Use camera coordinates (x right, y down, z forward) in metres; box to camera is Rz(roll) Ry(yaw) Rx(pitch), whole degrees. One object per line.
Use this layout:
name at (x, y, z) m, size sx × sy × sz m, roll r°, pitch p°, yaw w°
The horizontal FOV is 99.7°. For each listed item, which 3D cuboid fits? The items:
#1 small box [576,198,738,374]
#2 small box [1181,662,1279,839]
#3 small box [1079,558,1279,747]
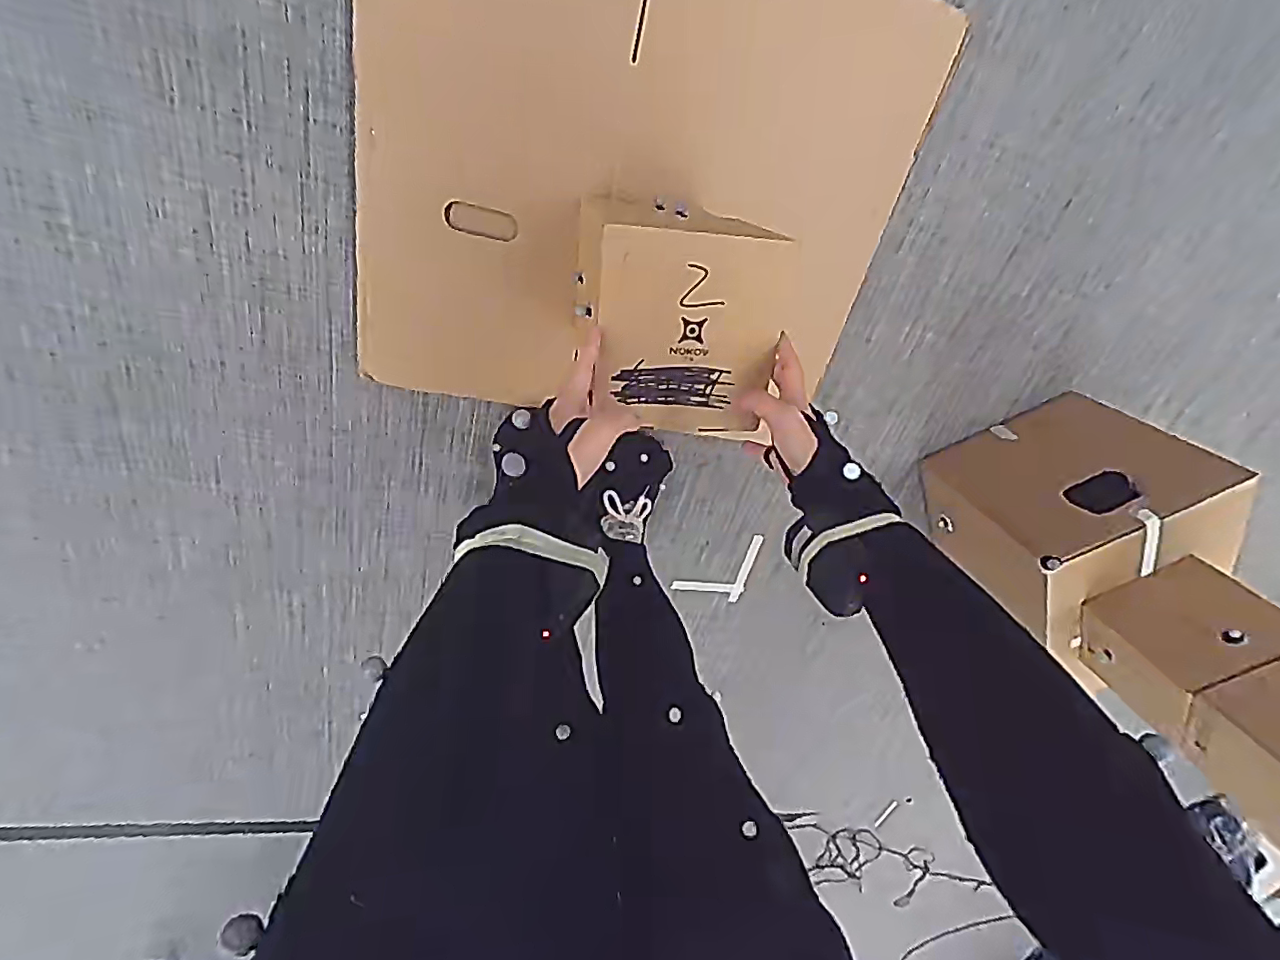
small box at (0.007, -0.248, 0.680) m, size 0.168 × 0.176 × 0.179 m, roll 1°, pitch 122°, yaw -10°
small box at (0.828, 0.329, 0.651) m, size 0.179 × 0.176 × 0.168 m, roll -27°, pitch 122°, yaw 5°
small box at (0.798, 0.245, 0.789) m, size 0.179 × 0.176 × 0.168 m, roll -26°, pitch 123°, yaw 6°
